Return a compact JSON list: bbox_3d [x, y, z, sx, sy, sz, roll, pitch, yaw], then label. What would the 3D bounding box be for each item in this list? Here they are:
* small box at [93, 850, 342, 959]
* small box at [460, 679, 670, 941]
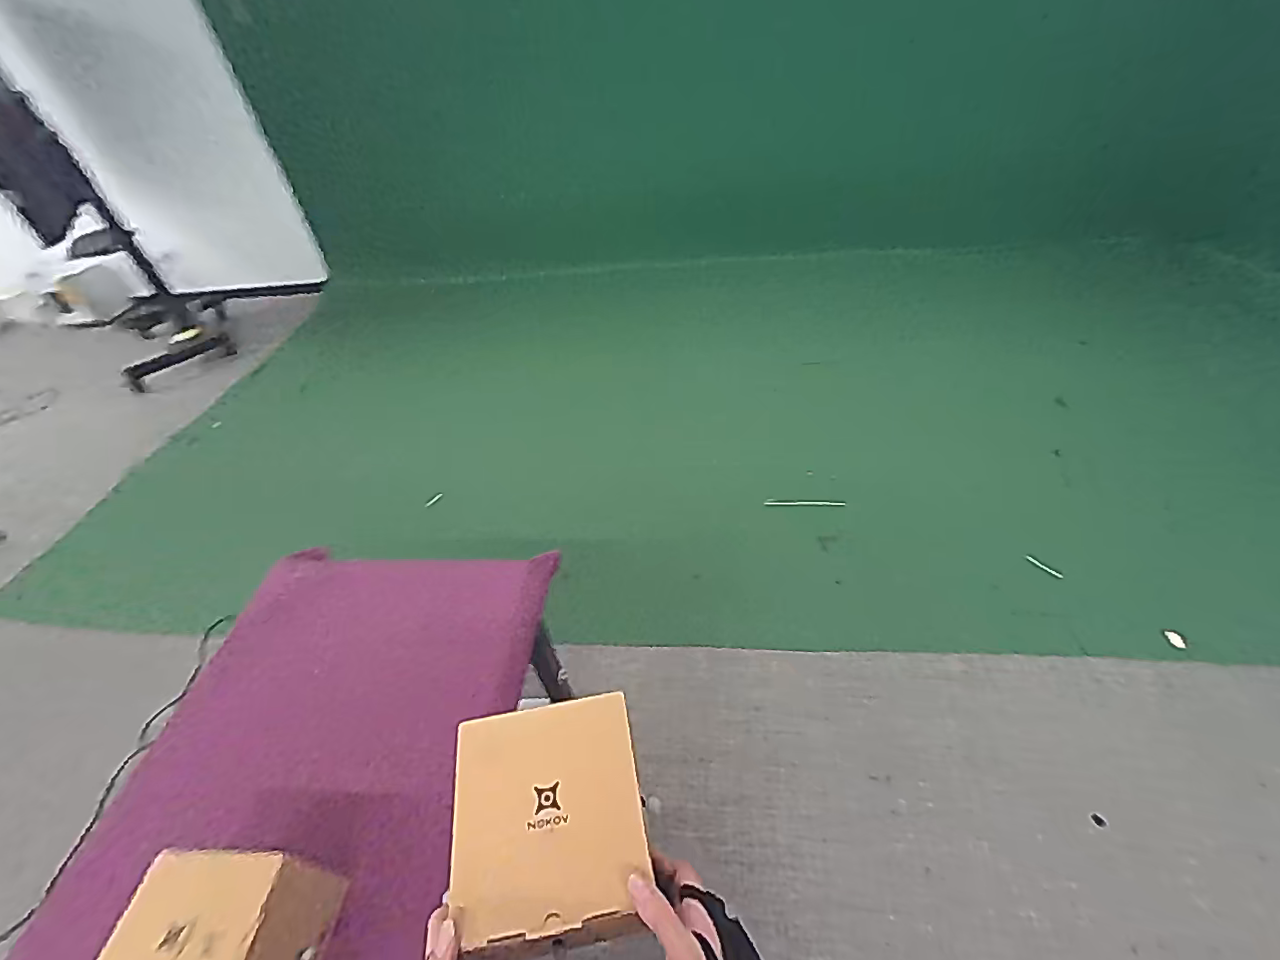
[{"bbox_3d":[-0.514,0.574,0.662,0.179,0.176,0.168,-2,43,6],"label":"small box"},{"bbox_3d":[-0.067,0.325,0.534,0.168,0.176,0.179,-9,48,-4],"label":"small box"}]
